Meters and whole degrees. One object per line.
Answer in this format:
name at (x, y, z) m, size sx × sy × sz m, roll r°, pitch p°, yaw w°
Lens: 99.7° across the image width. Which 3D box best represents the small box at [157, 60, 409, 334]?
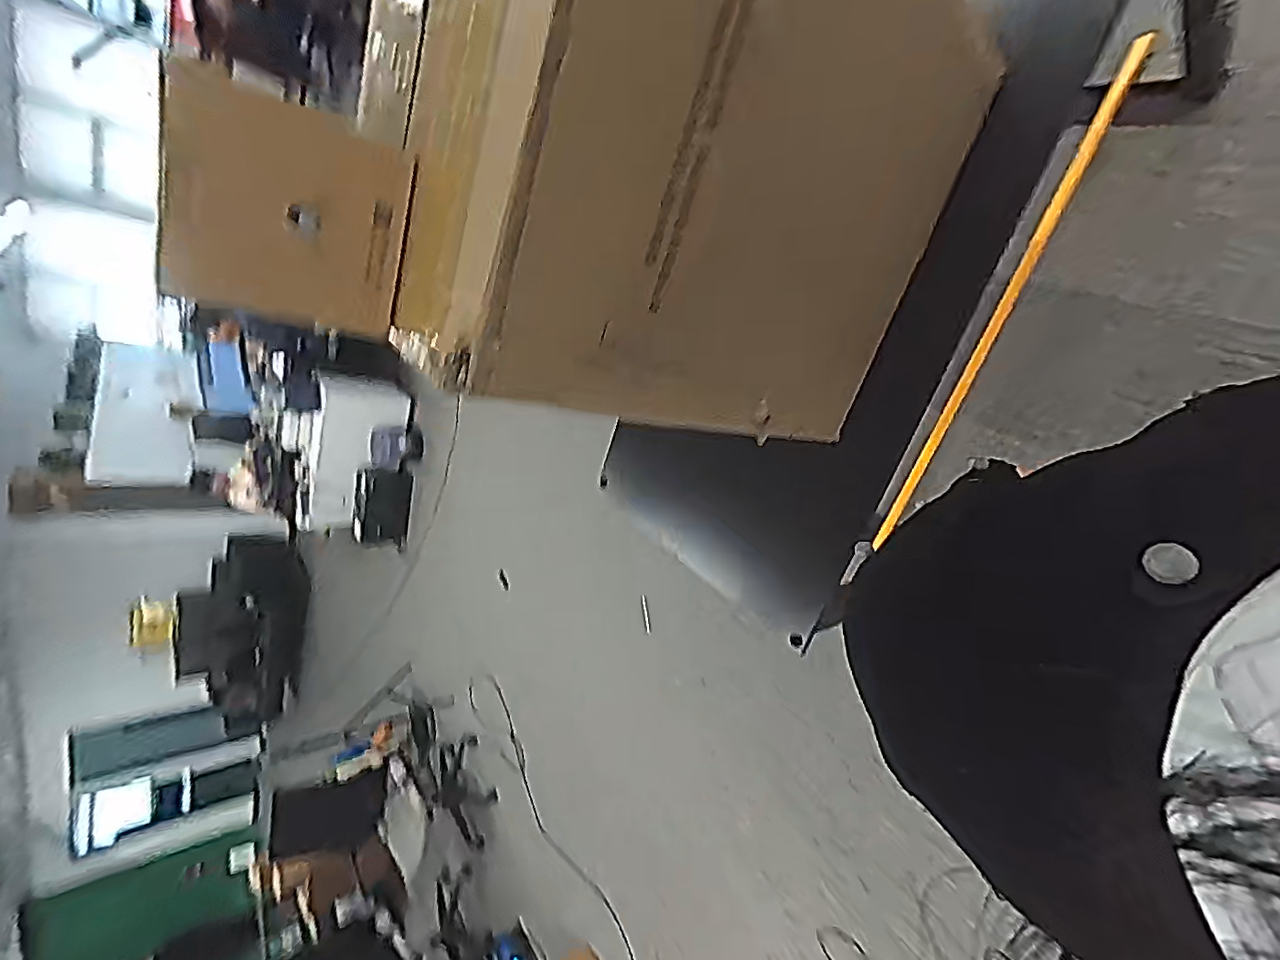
small box at (-0.331, -0.242, 0.500) m, size 0.179 × 0.176 × 0.168 m, roll 31°, pitch 111°, yaw 44°
